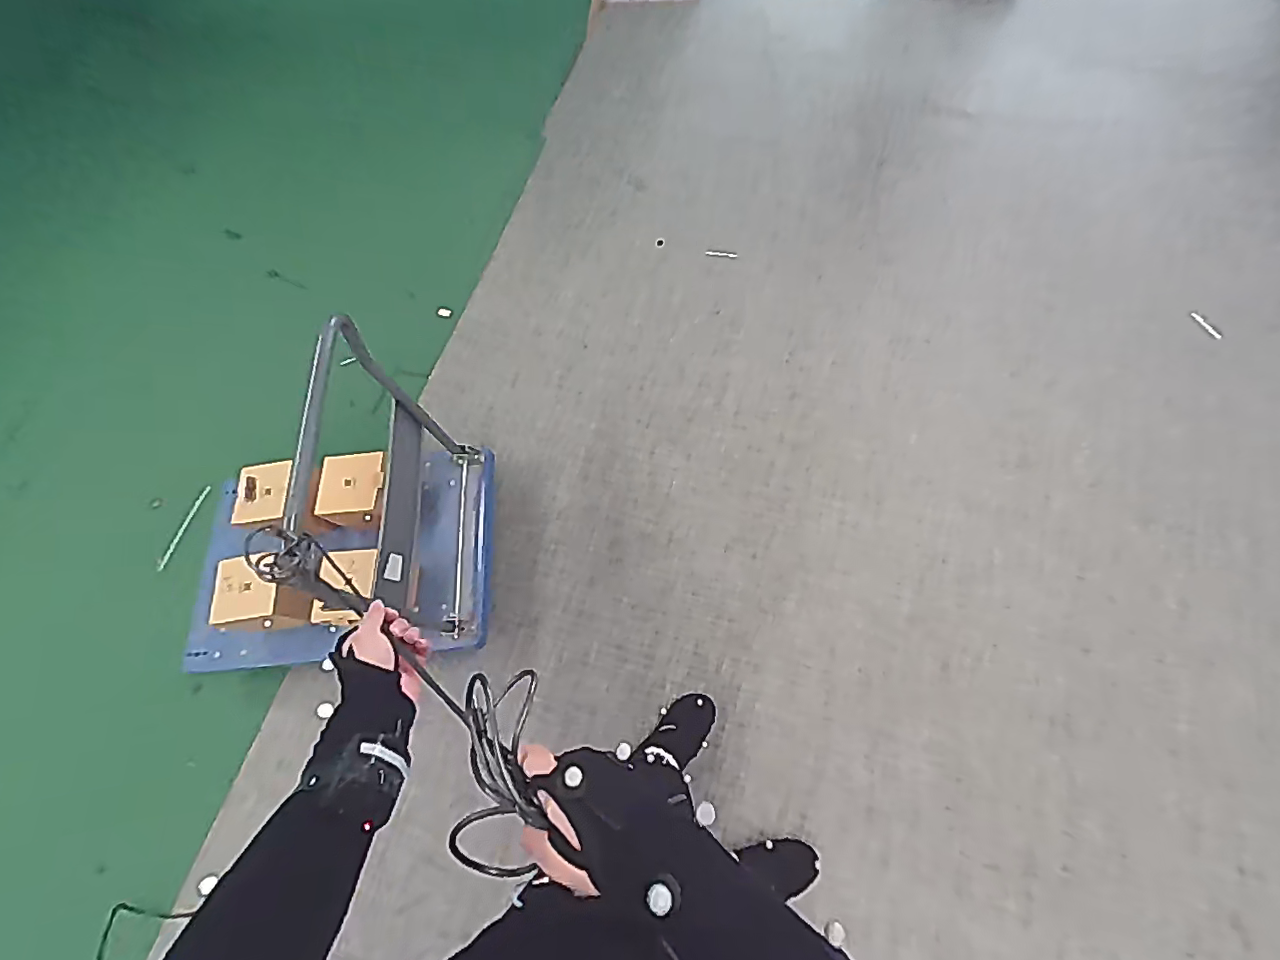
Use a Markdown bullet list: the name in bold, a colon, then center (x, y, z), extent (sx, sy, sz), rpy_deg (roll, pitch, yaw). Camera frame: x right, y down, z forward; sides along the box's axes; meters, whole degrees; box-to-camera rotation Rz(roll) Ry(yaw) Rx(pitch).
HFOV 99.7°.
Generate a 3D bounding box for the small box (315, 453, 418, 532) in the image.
- **small box**: center (-0.745, 0.040, 1.490), extent (0.179, 0.176, 0.168), rpy_deg (-5, 68, 8)

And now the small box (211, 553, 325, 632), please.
- **small box**: center (-0.970, 0.301, 1.427), extent (0.179, 0.176, 0.168), rpy_deg (-10, 67, 6)

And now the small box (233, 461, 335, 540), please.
- **small box**: center (-0.986, 0.064, 1.522), extent (0.179, 0.176, 0.168), rpy_deg (-8, 68, 6)
